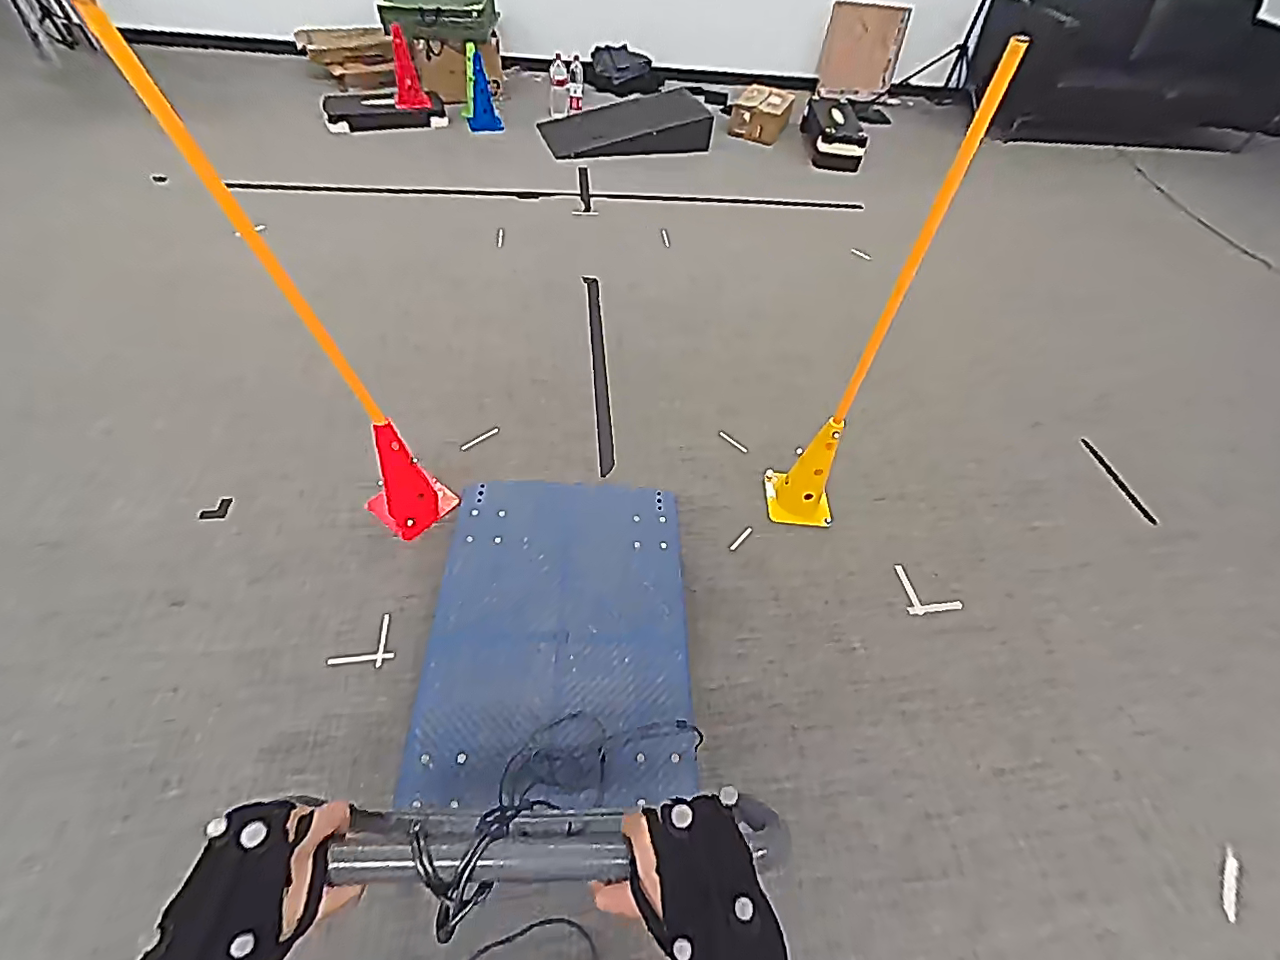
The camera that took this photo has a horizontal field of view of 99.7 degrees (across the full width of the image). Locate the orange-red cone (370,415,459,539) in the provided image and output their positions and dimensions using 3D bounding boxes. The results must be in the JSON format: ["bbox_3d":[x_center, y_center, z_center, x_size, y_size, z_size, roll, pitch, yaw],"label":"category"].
[{"bbox_3d":[-0.646,-0.039,1.467,0.198,0.360,0.199,36,55,19],"label":"orange-red cone"}]
